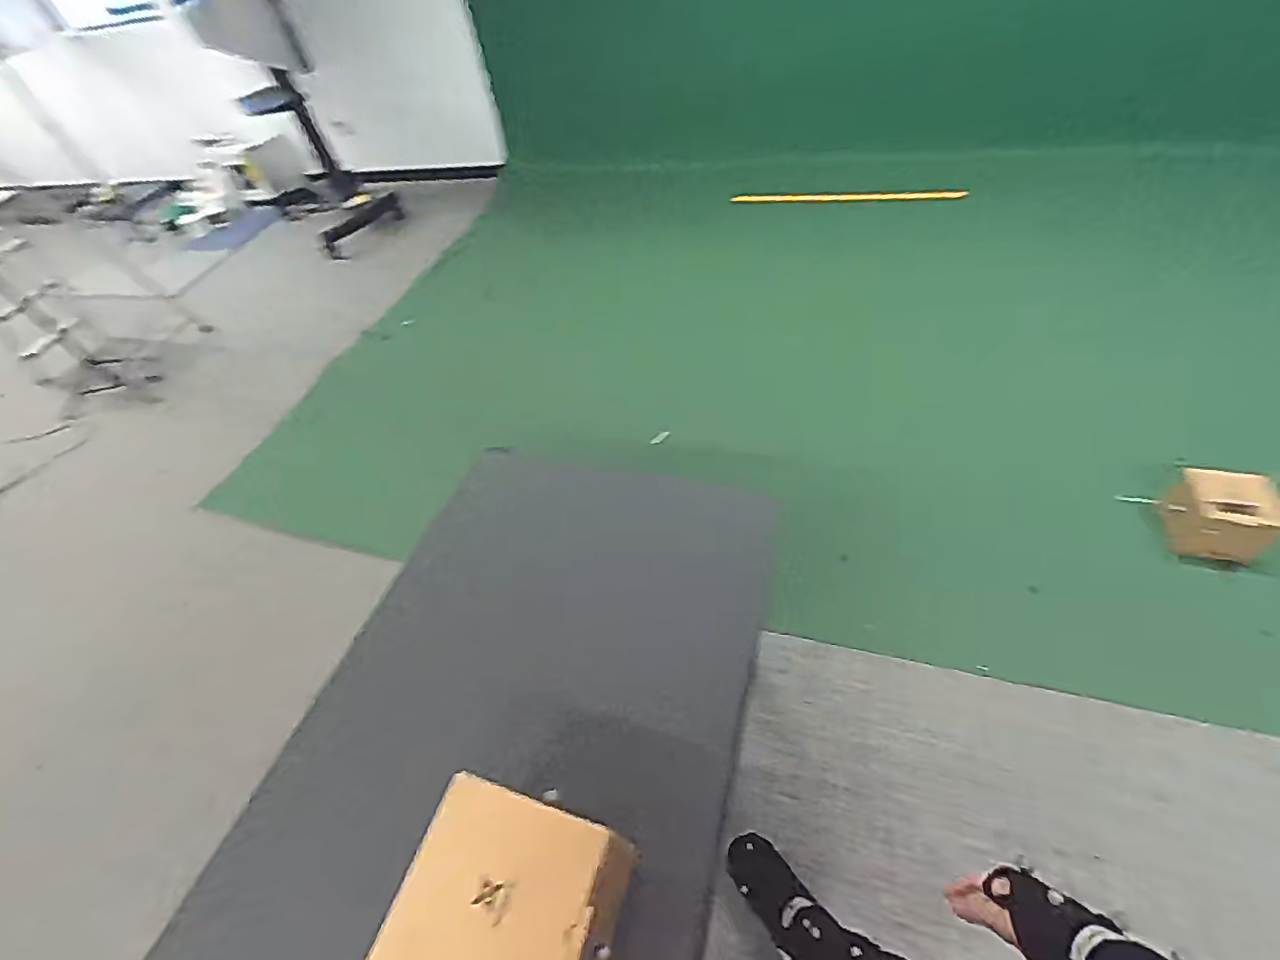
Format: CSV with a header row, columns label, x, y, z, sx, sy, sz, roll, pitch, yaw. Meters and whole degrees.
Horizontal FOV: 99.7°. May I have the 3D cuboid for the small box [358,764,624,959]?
label,x,y,z,sx,sy,sz,roll,pitch,yaw
small box,-0.130,0.419,0.547,0.179,0.176,0.168,11,53,16
